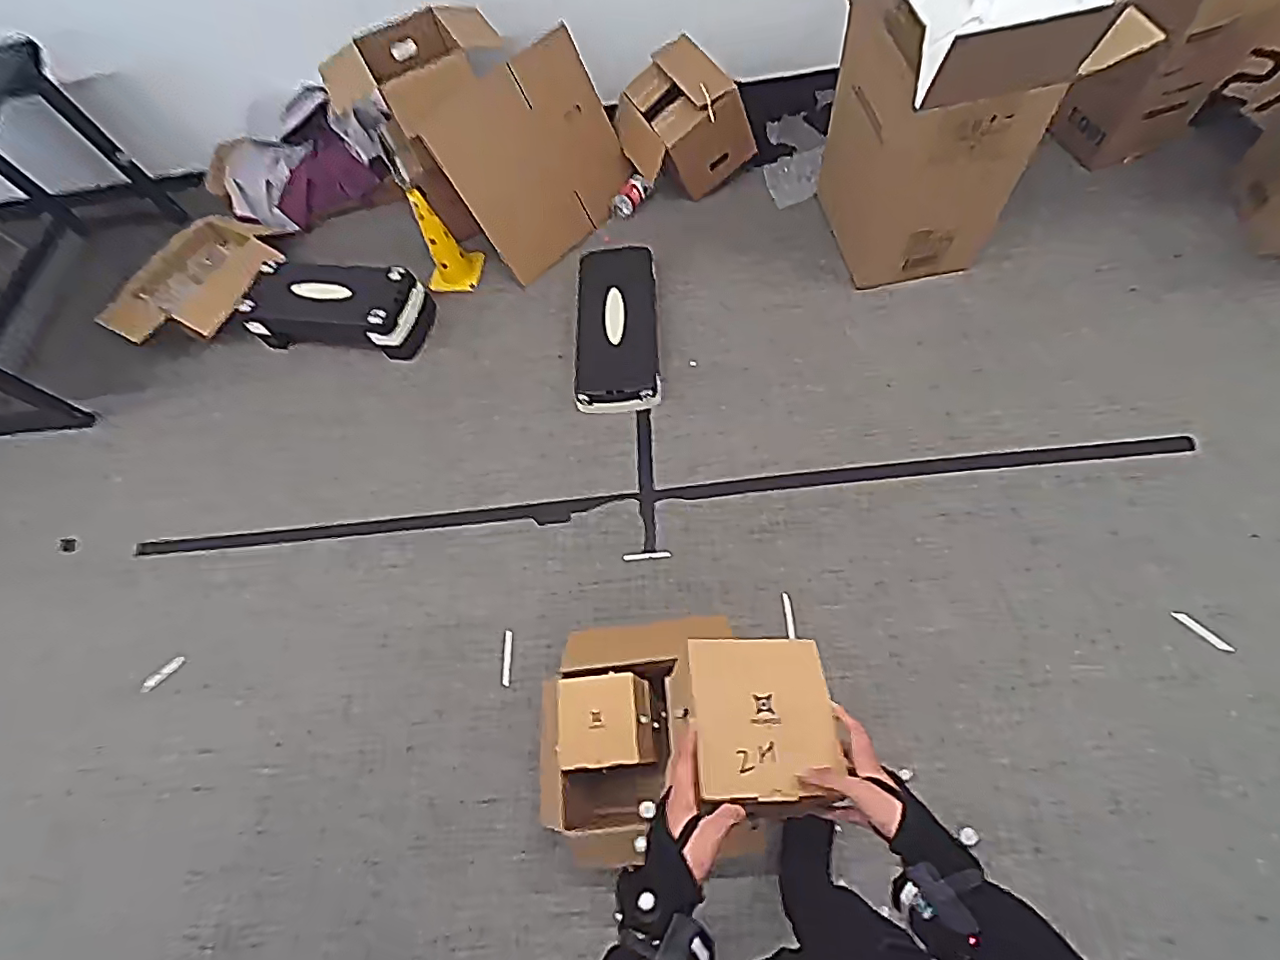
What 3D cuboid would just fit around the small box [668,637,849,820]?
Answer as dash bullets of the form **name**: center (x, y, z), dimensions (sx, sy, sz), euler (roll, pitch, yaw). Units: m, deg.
- **small box**: center (0.130, 0.312, 0.676), dimensions (0.168, 0.176, 0.179), euler (2, 53, -5)
